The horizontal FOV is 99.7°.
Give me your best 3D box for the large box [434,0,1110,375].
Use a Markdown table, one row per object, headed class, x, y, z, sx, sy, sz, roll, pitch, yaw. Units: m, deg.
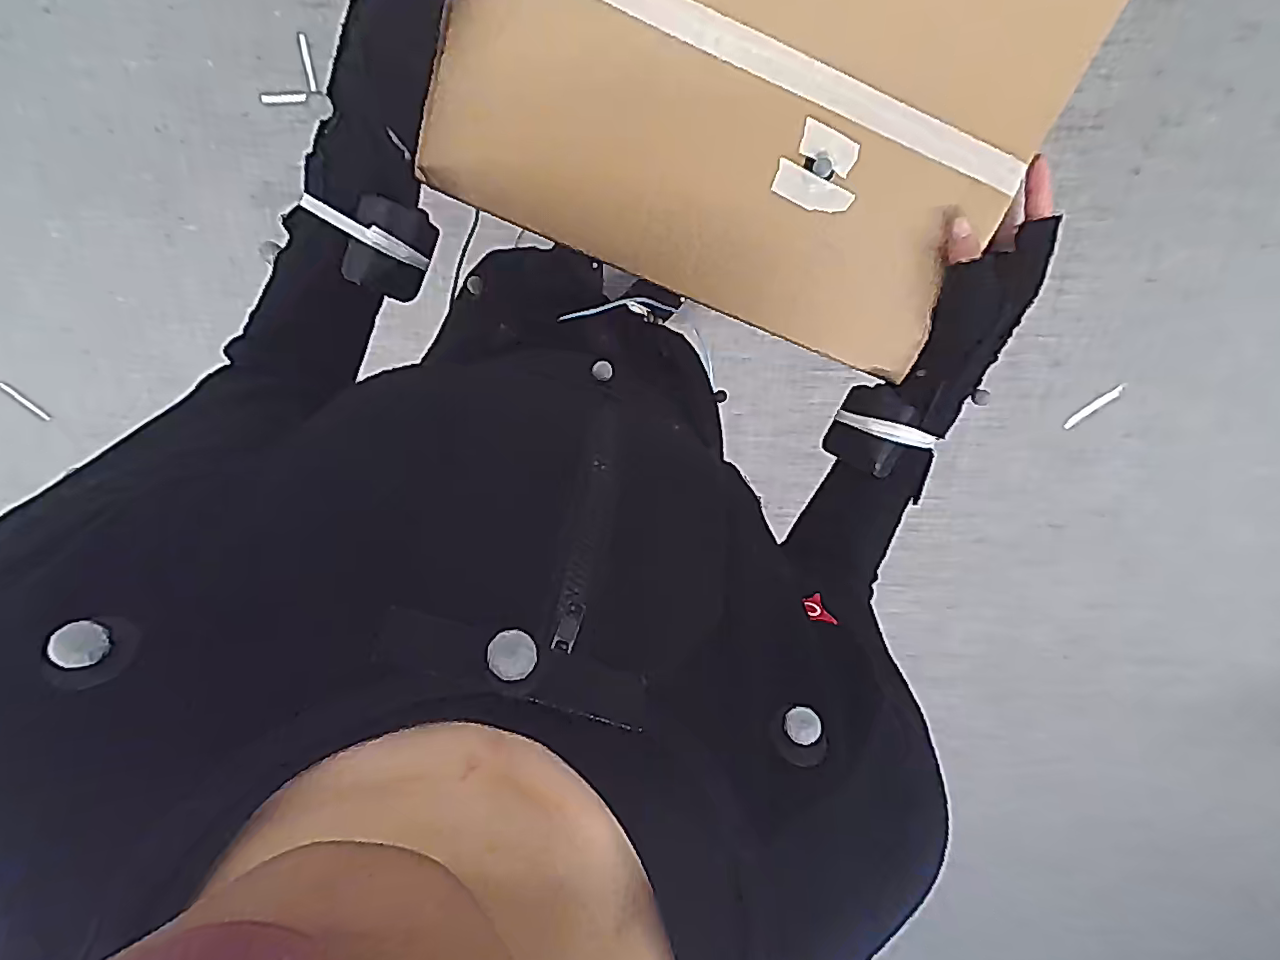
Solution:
| class | x | y | z | sx | sy | sz | roll | pitch | yaw |
| --- | --- | --- | --- | --- | --- | --- | --- | --- | --- |
| large box | 0.082 | -0.340 | 0.510 | 0.408 | 0.320 | 0.320 | 21 | 113 | -8 |
